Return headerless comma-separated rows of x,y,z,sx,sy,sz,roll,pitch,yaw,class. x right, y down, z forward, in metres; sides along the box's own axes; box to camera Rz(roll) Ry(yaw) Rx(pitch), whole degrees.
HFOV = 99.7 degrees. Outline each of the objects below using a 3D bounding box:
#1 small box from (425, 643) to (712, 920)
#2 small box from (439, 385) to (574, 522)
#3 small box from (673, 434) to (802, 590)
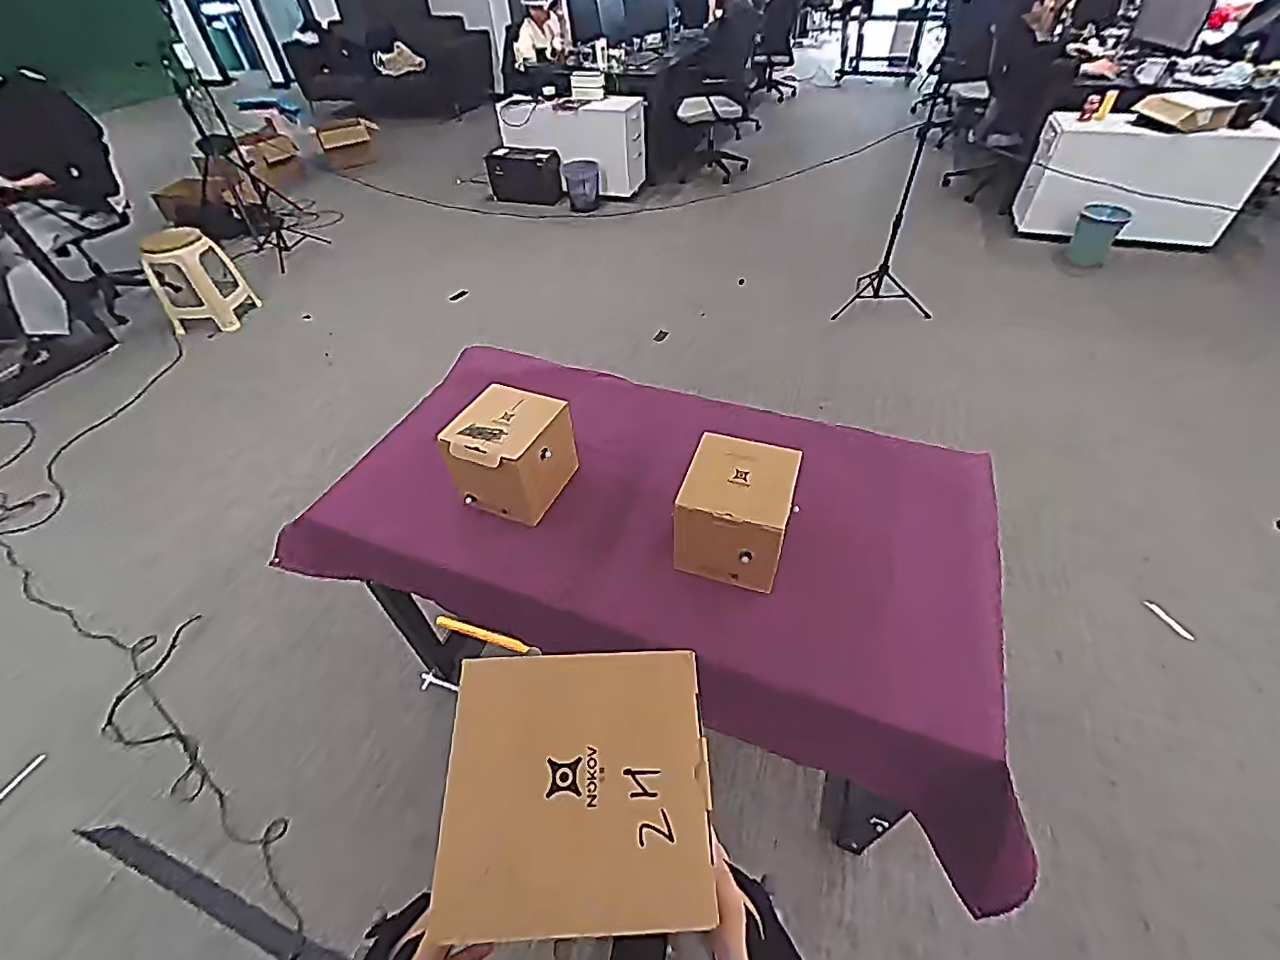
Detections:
-0.045,0.237,0.432,0.179,0.176,0.168,-1,57,-2,small box
-0.235,-0.048,1.013,0.168,0.176,0.179,17,48,18,small box
0.159,0.054,0.895,0.168,0.176,0.179,14,48,15,small box
